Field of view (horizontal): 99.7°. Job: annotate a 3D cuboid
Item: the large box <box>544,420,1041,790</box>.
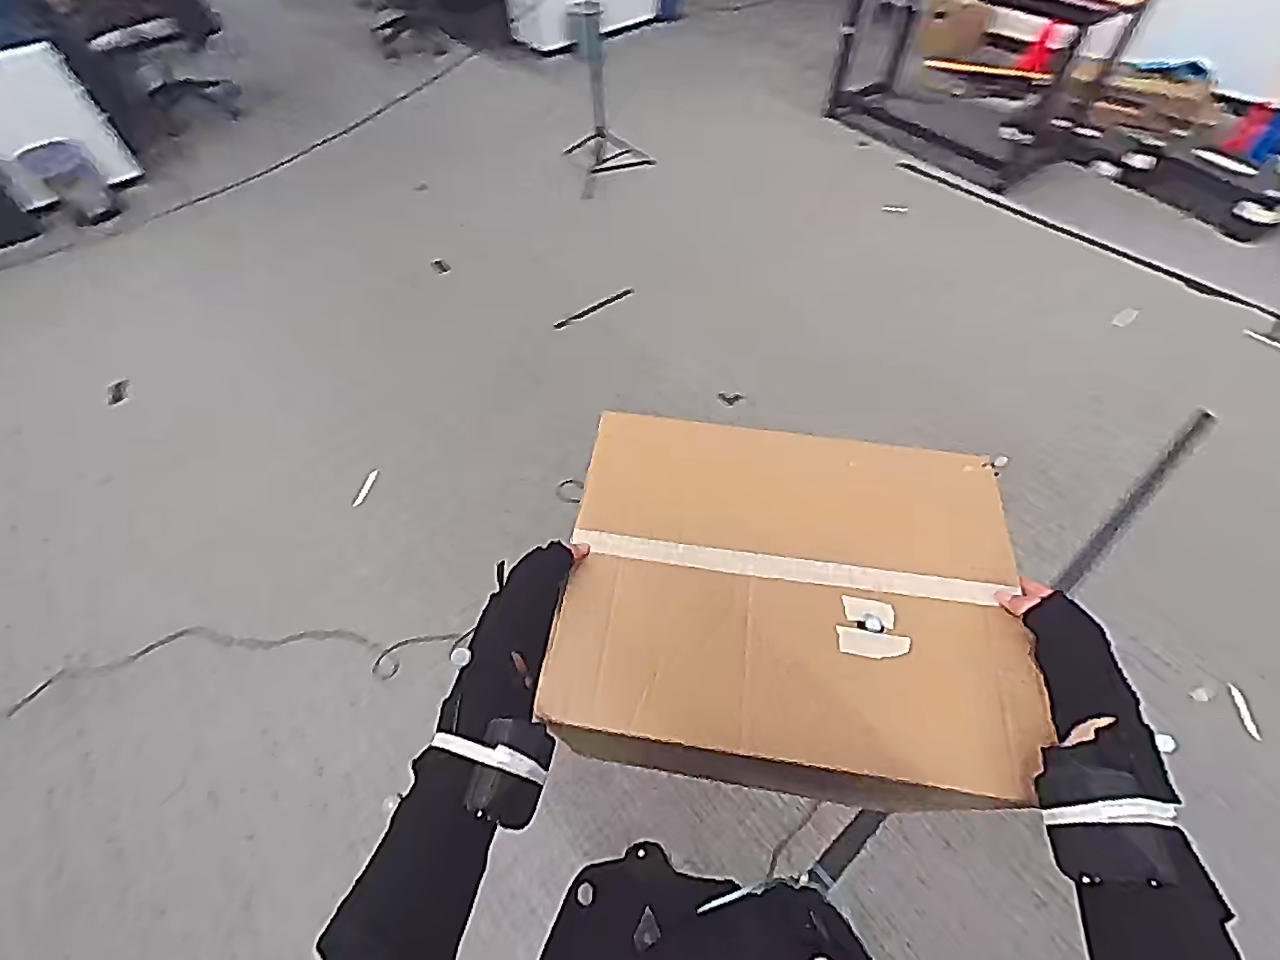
[{"bbox_3d":[0.131,0.159,0.632,0.408,0.320,0.320,6,60,3],"label":"large box"}]
